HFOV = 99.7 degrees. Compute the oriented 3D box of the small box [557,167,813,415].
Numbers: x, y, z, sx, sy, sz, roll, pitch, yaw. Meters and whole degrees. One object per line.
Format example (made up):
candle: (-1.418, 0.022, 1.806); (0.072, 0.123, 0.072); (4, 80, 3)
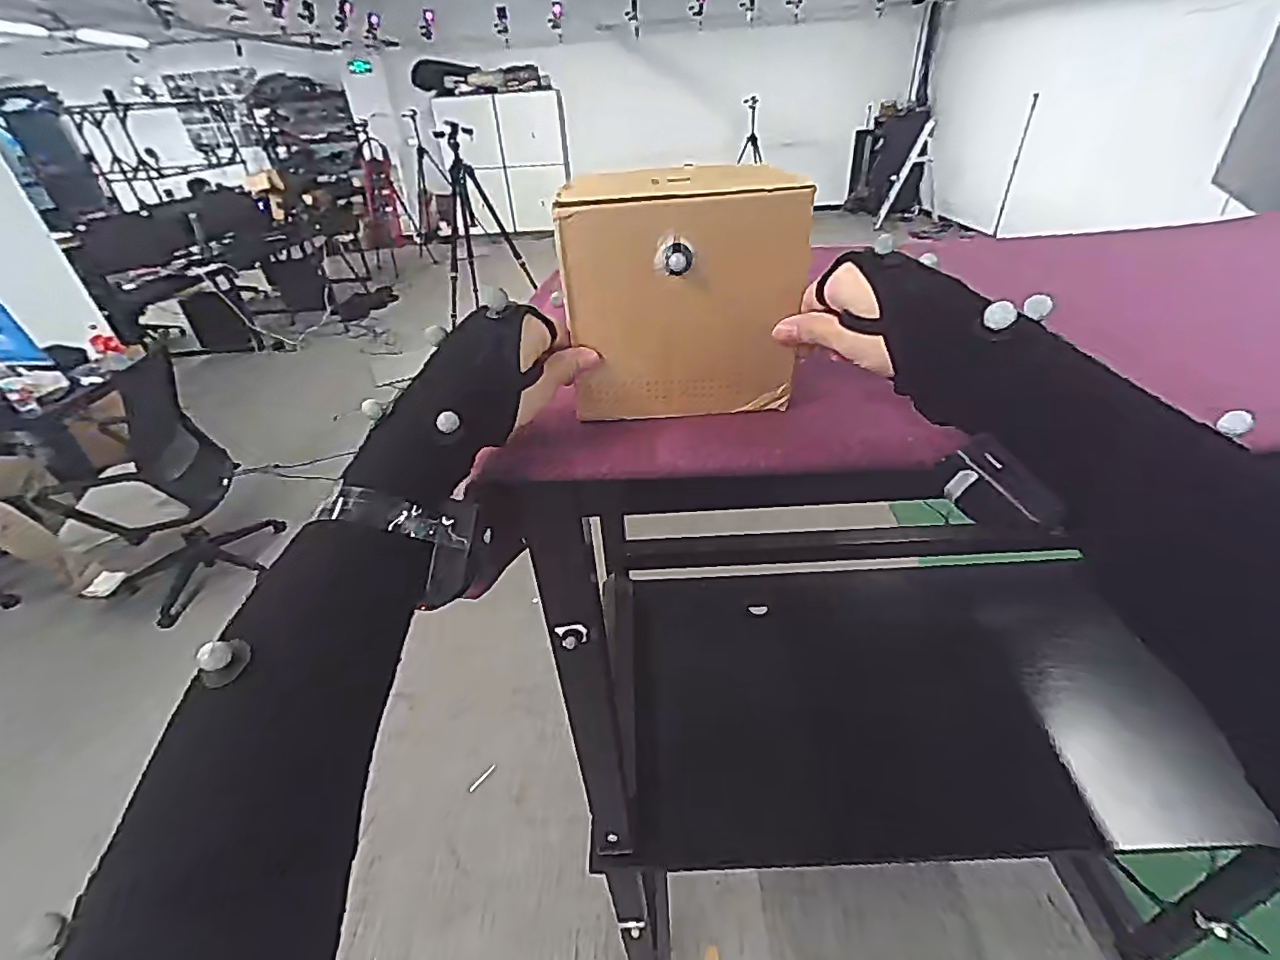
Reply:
small box: (0.035, -0.165, 0.469); (0.179, 0.176, 0.168); (-3, 34, 1)
